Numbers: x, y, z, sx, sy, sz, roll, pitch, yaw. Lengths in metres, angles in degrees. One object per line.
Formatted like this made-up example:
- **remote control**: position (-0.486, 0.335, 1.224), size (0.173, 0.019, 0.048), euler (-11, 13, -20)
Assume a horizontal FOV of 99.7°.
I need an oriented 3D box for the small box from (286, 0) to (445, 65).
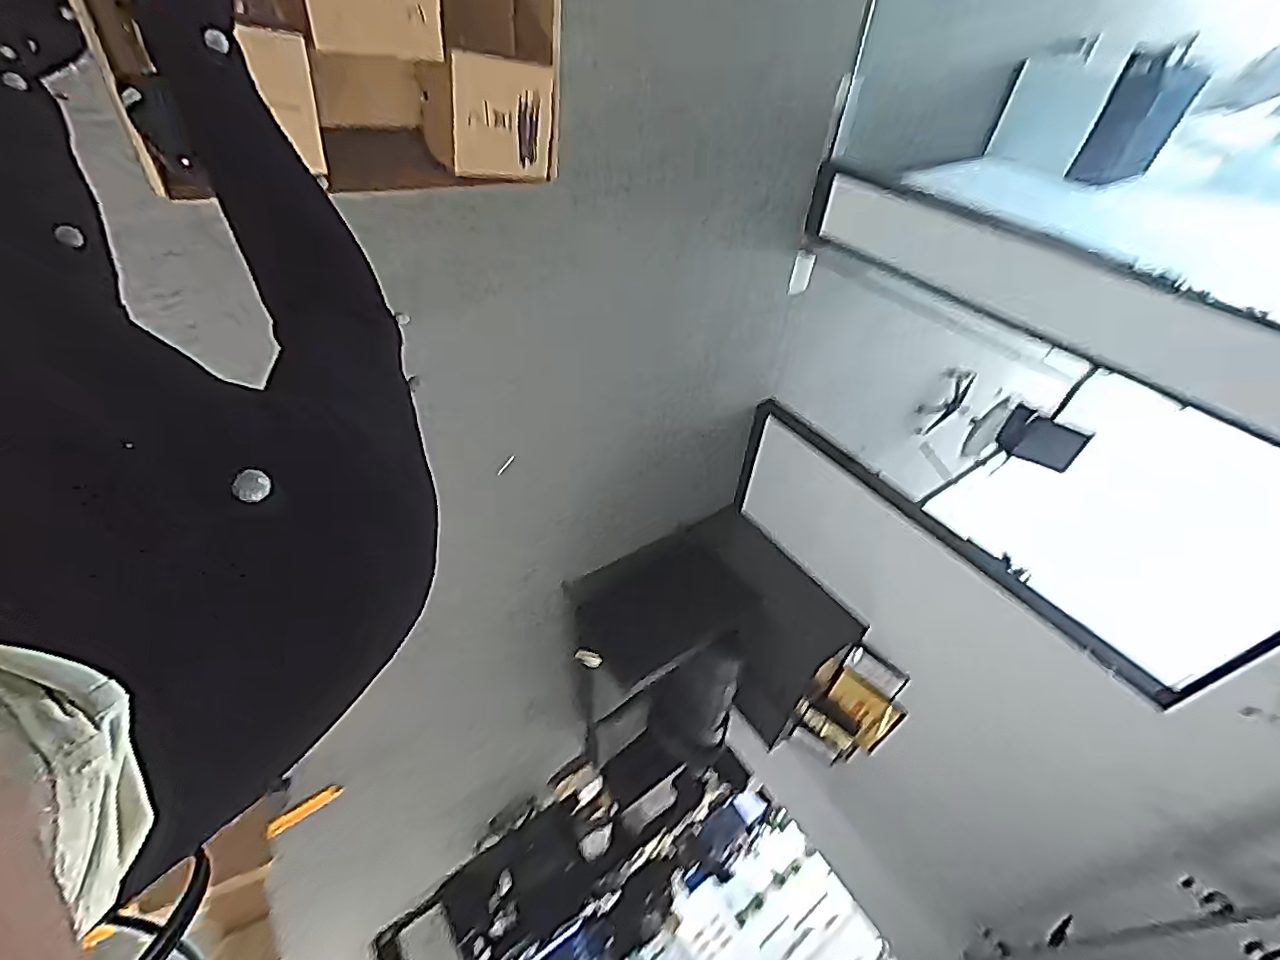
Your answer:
- **small box**: position (-0.390, -0.696, 0.745), size (0.179, 0.176, 0.168), euler (-19, 141, -30)
